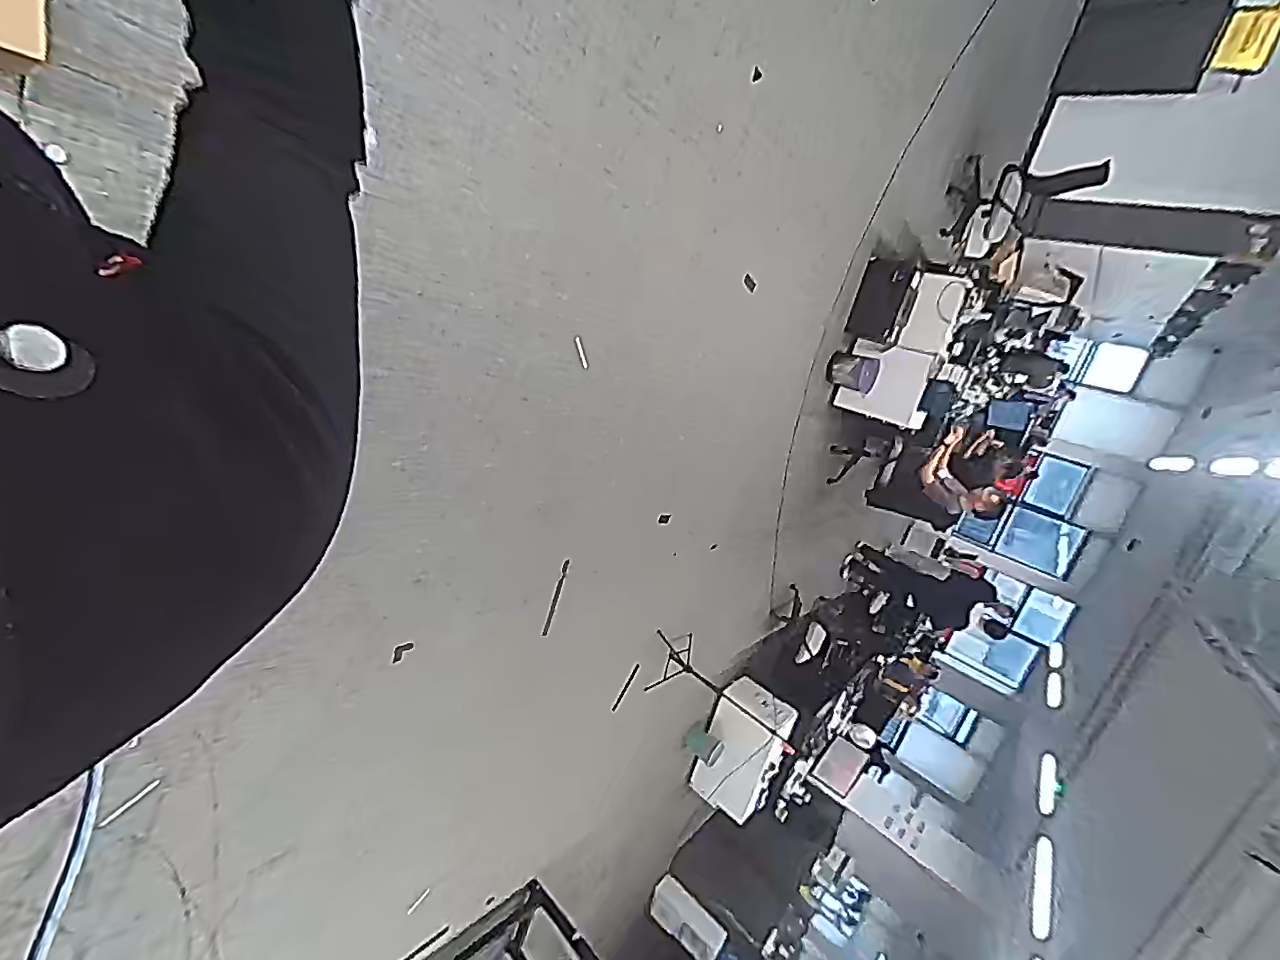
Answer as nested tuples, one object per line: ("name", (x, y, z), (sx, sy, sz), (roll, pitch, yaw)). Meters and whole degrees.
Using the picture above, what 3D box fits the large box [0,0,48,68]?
("large box", (-0.995, -0.748, 0.612), (0.408, 0.320, 0.320), (-5, 117, -52))
